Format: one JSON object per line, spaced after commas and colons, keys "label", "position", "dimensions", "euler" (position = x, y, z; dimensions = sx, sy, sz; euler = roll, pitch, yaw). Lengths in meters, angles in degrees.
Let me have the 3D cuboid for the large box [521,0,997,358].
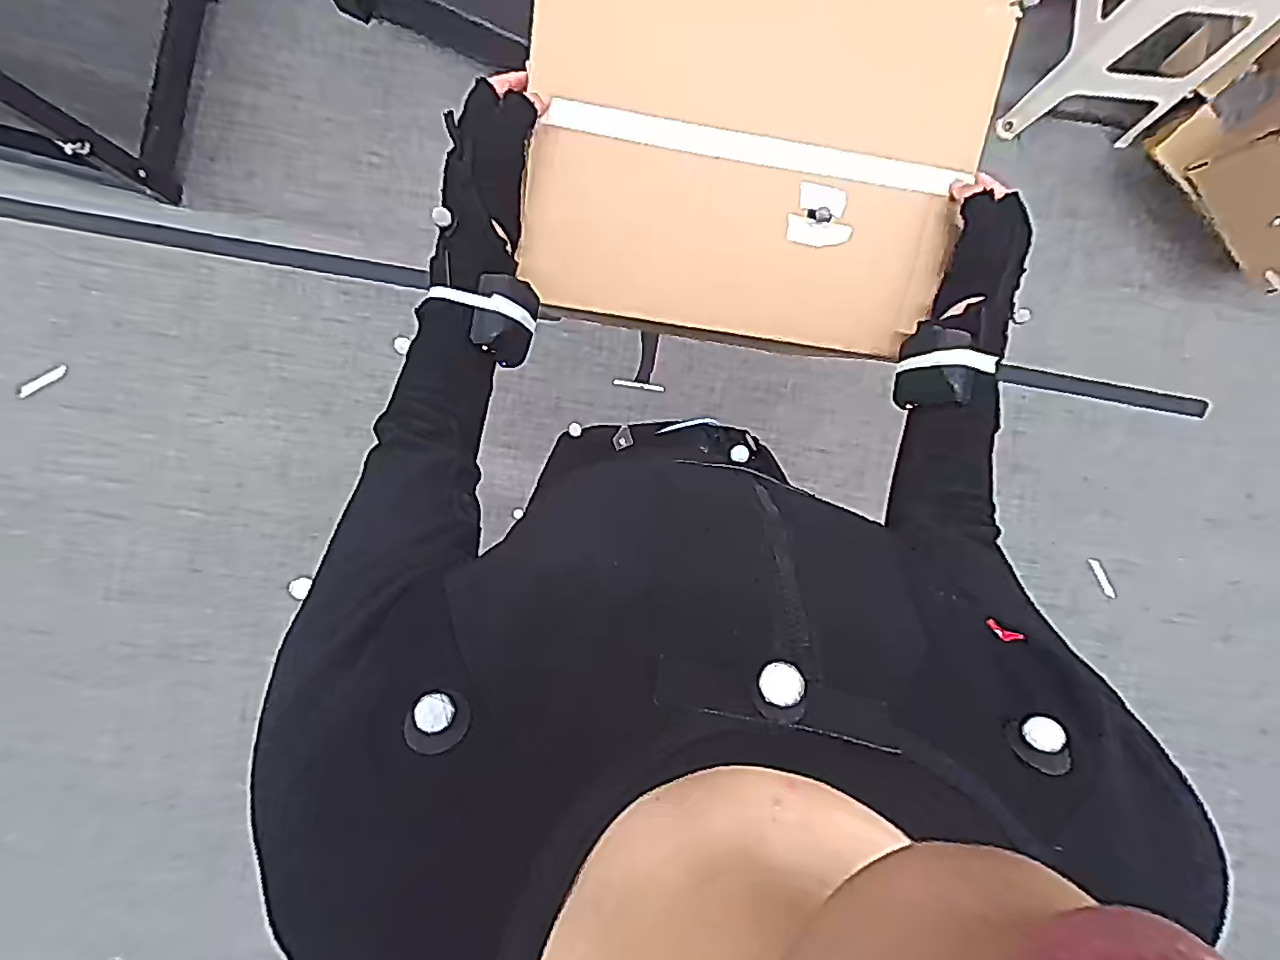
{"label": "large box", "position": [0.090, -0.330, 0.638], "dimensions": [0.408, 0.320, 0.320], "euler": [8, 105, -6]}
